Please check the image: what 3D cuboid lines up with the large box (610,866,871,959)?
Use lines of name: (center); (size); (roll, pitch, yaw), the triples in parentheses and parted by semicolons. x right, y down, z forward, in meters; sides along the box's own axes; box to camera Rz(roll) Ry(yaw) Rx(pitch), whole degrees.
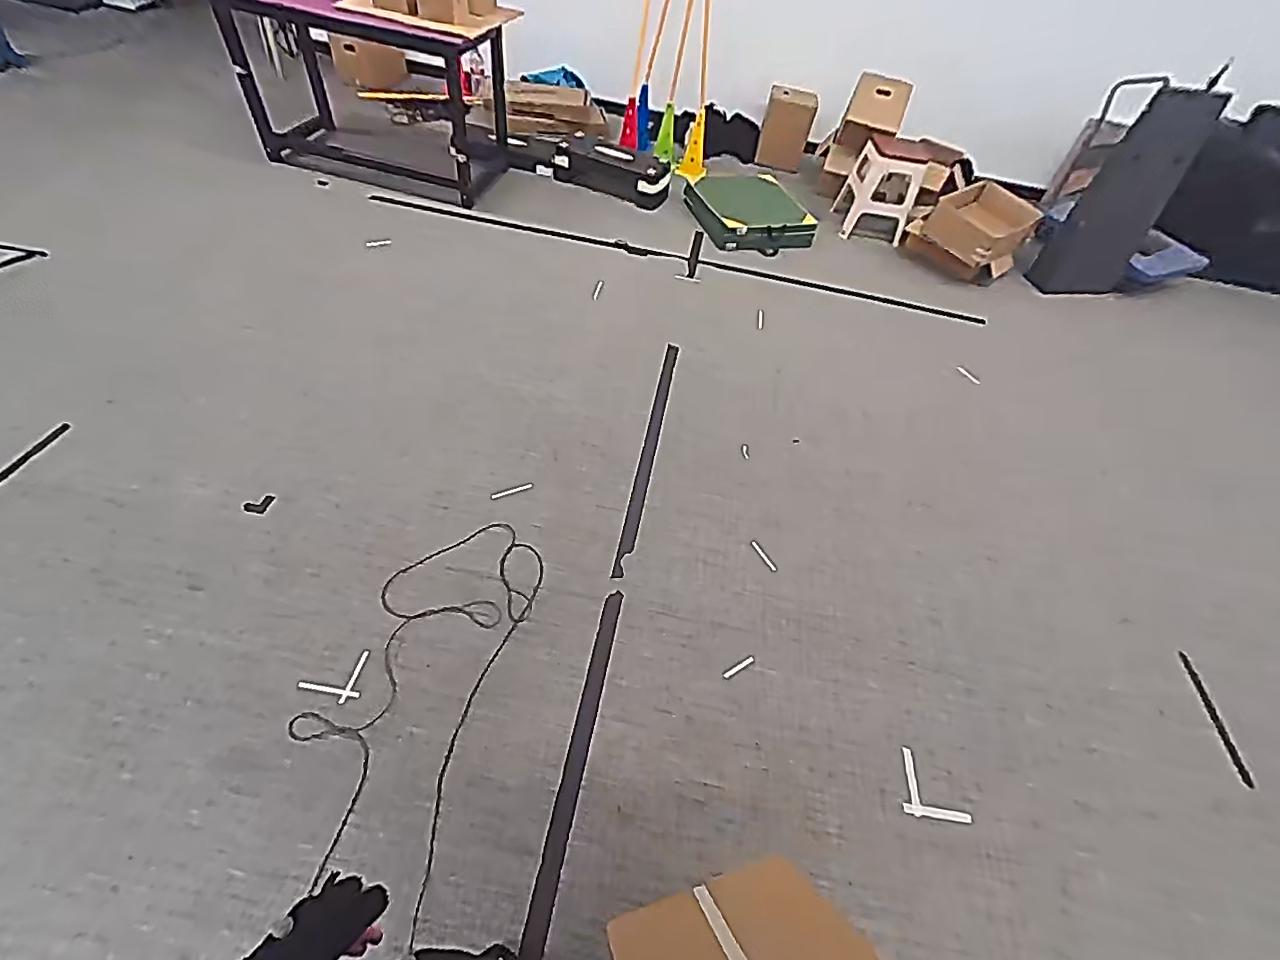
large box: (0.169, 0.785, 0.666); (0.320, 0.408, 0.320); (-10, 84, -14)
